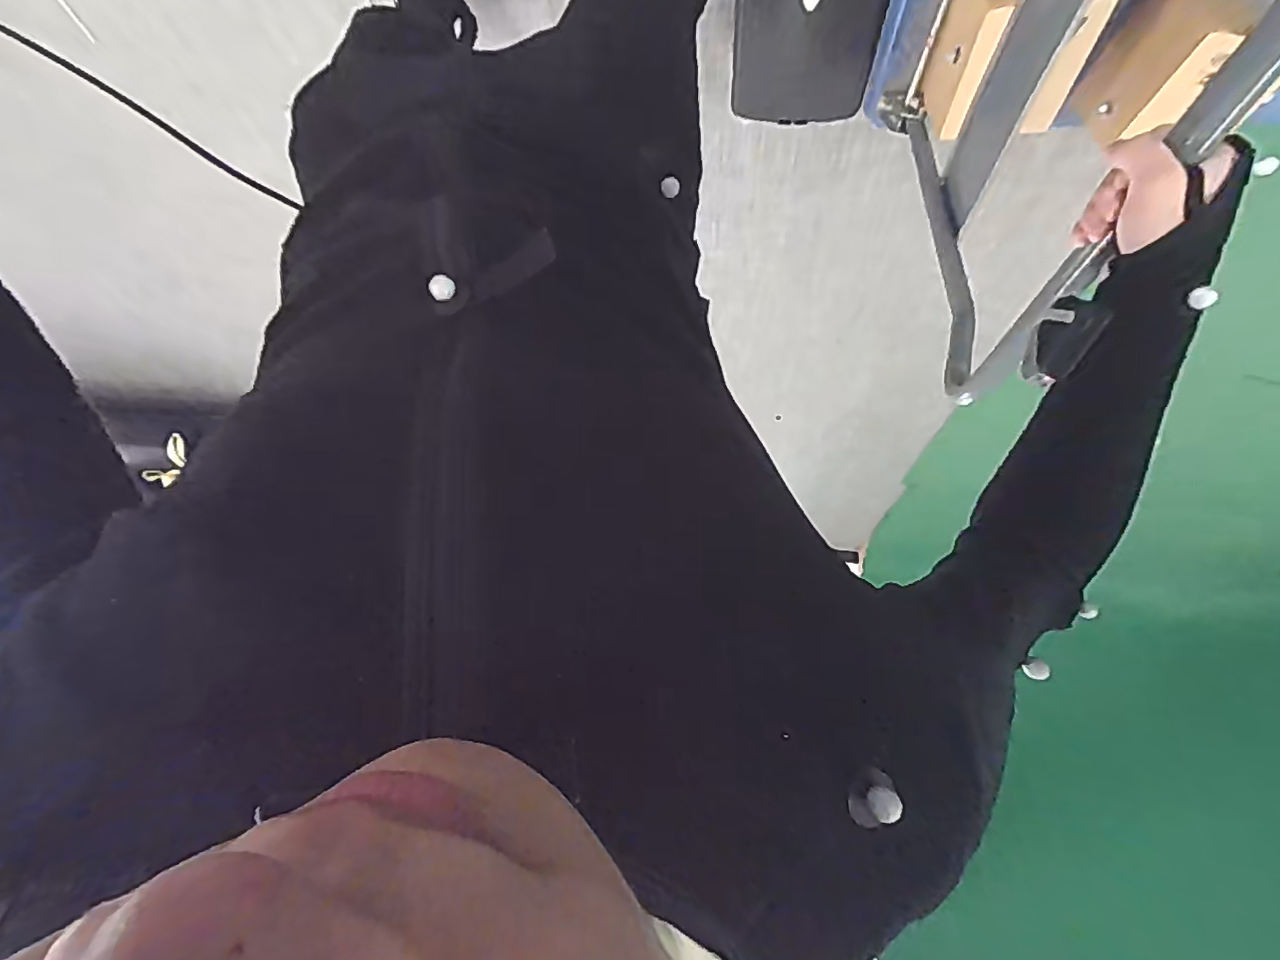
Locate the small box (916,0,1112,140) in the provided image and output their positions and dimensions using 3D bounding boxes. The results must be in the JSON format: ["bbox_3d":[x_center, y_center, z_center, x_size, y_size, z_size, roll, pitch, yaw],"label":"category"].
[{"bbox_3d":[0.539,-0.653,0.814,0.168,0.176,0.179,-1,153,5],"label":"small box"}]
